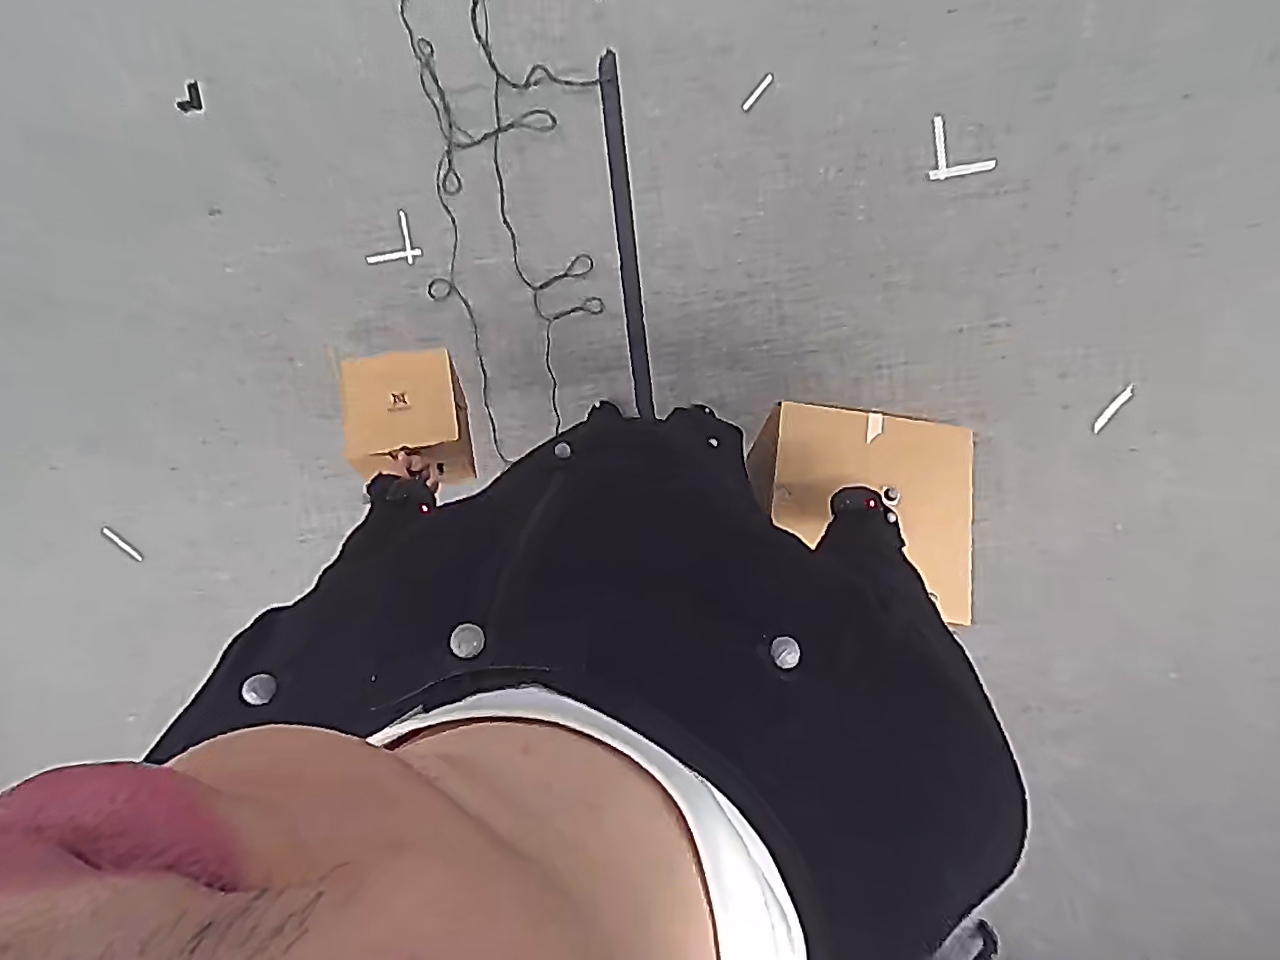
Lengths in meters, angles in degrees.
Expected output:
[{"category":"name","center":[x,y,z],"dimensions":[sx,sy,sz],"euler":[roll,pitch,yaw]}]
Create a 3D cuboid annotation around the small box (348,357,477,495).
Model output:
[{"category":"small box","center":[-0.385,-0.085,0.936],"dimensions":[0.168,0.176,0.179],"euler":[-10,68,-12]}]
